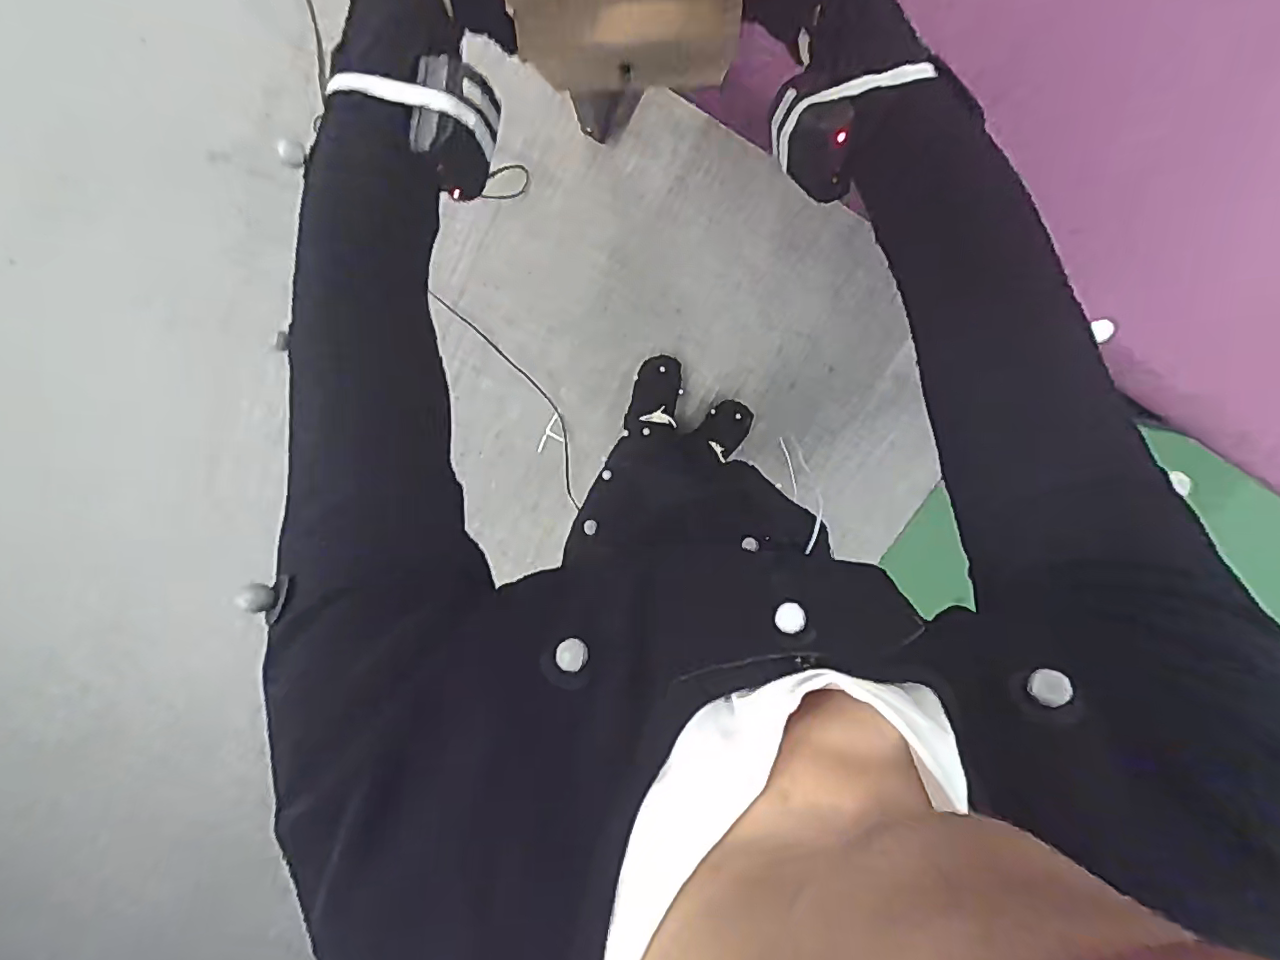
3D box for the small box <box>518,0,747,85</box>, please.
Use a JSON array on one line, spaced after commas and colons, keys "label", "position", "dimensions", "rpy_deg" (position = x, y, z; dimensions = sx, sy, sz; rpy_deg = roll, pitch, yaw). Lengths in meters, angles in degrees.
[{"label": "small box", "position": [-0.004, -0.449, 0.453], "dimensions": [0.179, 0.176, 0.168], "rpy_deg": [1, 117, 2]}]
